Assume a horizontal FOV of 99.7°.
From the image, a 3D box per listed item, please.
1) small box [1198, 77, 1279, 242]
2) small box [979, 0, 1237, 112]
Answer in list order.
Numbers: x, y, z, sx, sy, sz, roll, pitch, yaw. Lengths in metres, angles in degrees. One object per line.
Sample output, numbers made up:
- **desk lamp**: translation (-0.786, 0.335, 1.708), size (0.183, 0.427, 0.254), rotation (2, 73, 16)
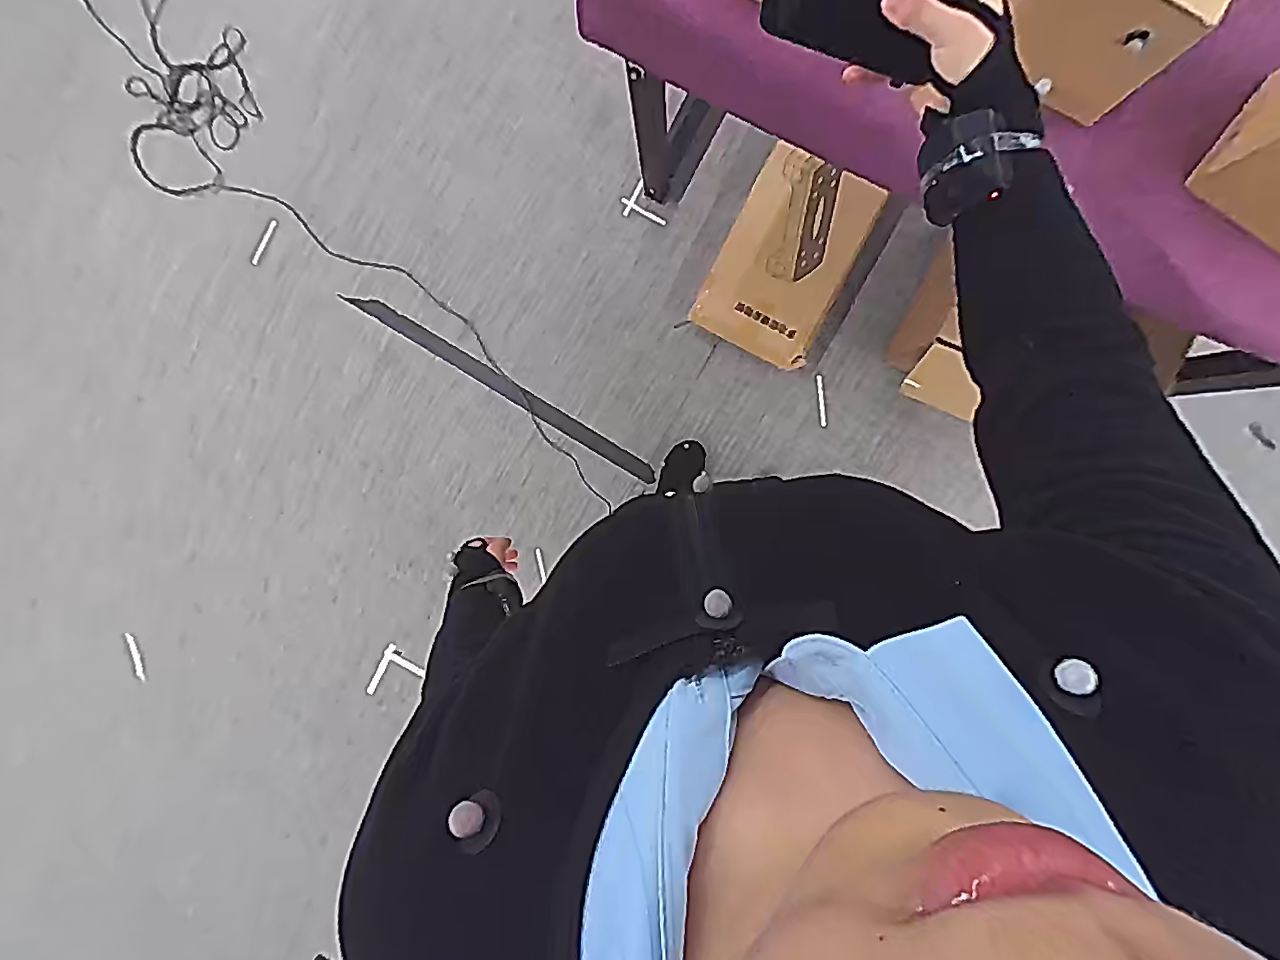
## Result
- **small box**: translation (0.805, -0.390, 0.597), size (0.179, 0.176, 0.168), rotation (35, 96, 1)
- **small box**: translation (0.537, -0.561, 0.604), size (0.179, 0.176, 0.168), rotation (28, 93, 2)
